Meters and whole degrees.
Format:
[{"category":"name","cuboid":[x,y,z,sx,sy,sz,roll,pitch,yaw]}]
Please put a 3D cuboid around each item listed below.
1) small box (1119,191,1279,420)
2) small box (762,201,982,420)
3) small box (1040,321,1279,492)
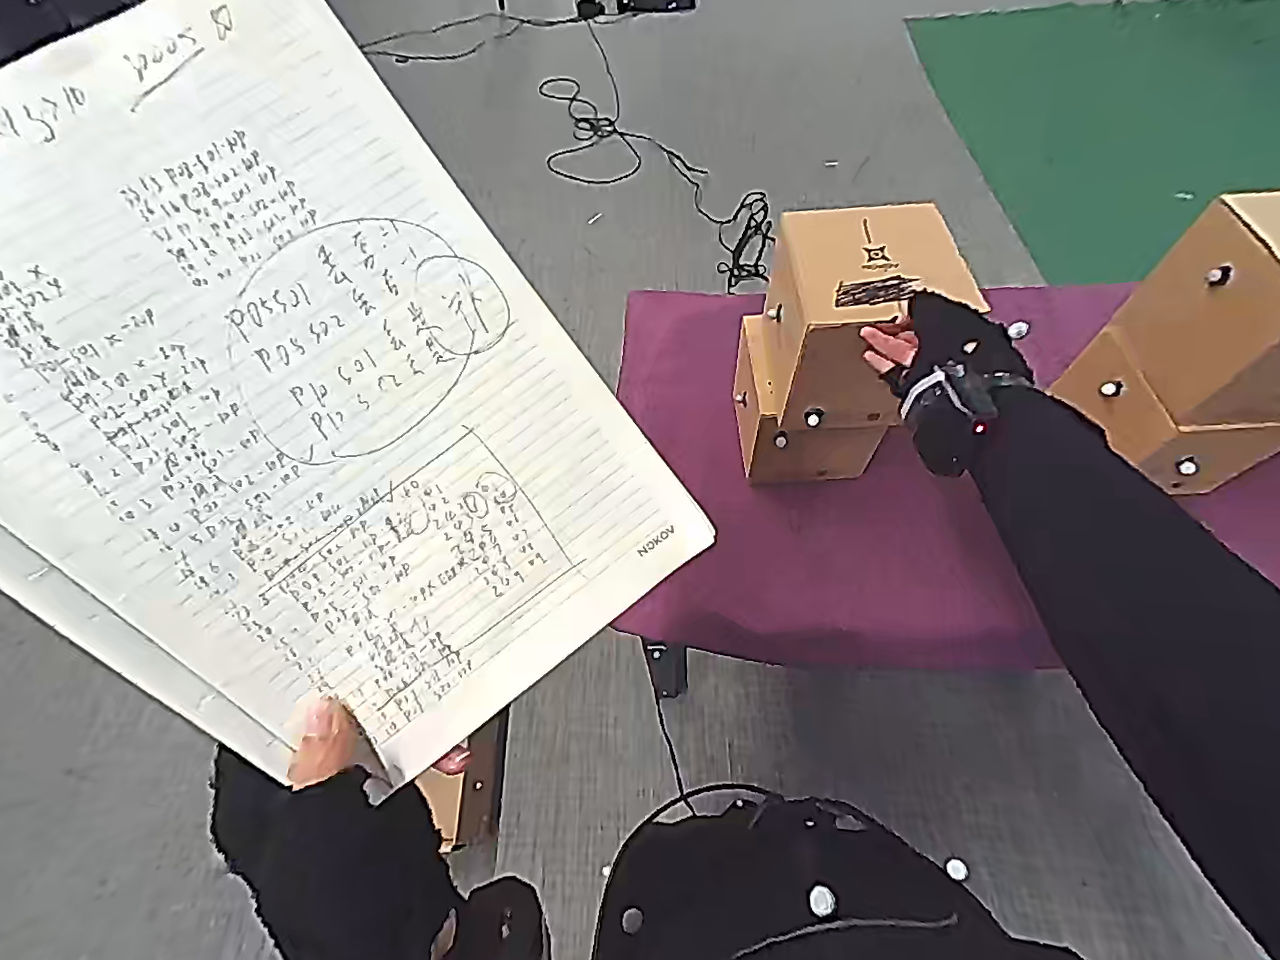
[{"category":"small box","cuboid":[0.679,-0.182,0.578,0.168,0.176,0.179,-1,59,5]},{"category":"small box","cuboid":[0.238,-0.180,0.609,0.168,0.176,0.179,-3,59,3]},{"category":"small box","cuboid":[0.687,-0.093,0.717,0.168,0.176,0.179,-3,59,3]}]
